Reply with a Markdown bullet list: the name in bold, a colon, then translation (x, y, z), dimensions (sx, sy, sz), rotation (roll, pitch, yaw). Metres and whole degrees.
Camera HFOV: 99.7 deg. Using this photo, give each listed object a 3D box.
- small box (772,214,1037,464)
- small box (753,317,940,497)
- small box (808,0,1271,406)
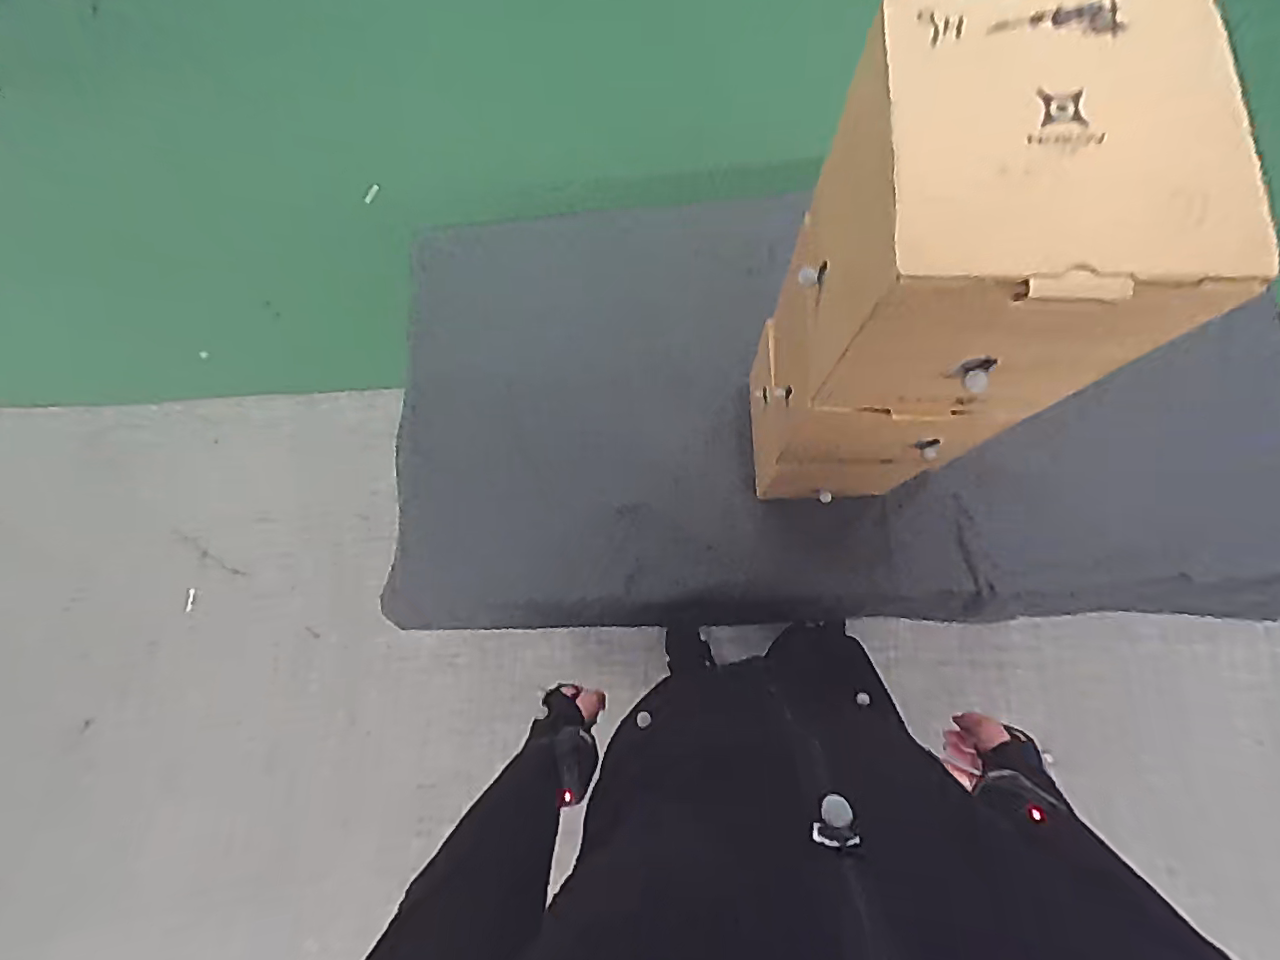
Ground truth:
- **small box**: translation (0.219, -0.116, 0.498), dimensions (0.168, 0.176, 0.179), rotation (1, 76, 4)
- **small box**: translation (0.233, -0.082, 0.656), dimensions (0.168, 0.176, 0.179), rotation (-2, 78, 5)
- **small box**: translation (0.208, -0.154, 0.339), dimensions (0.168, 0.176, 0.179), rotation (3, 78, 5)
